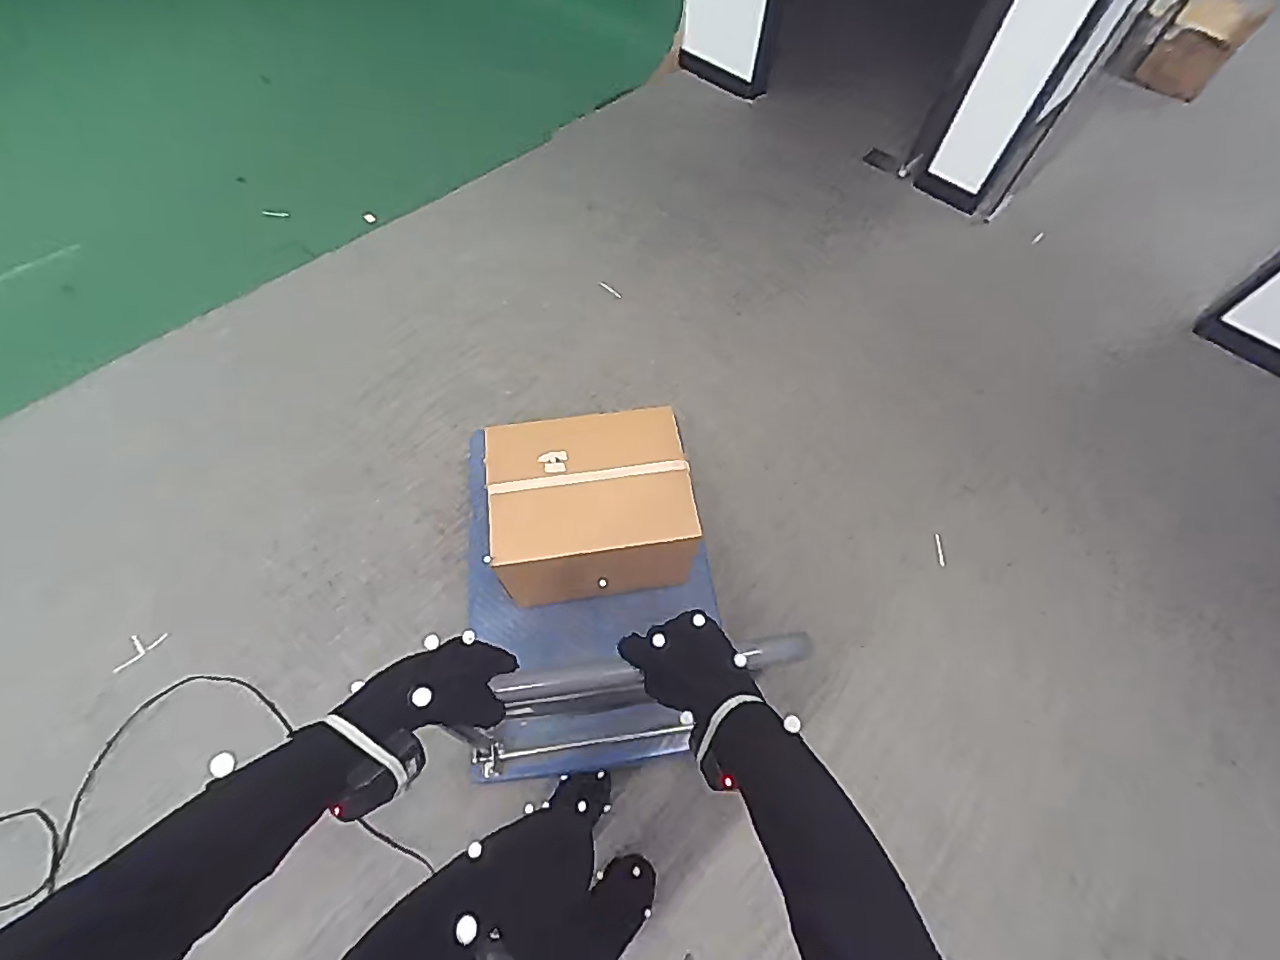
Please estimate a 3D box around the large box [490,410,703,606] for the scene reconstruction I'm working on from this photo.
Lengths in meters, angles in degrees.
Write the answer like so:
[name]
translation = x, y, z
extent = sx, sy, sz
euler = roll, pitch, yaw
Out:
[large box]
translation = -0.100, 0.074, 1.230
extent = 0.408, 0.320, 0.320
euler = -8, 63, -6
